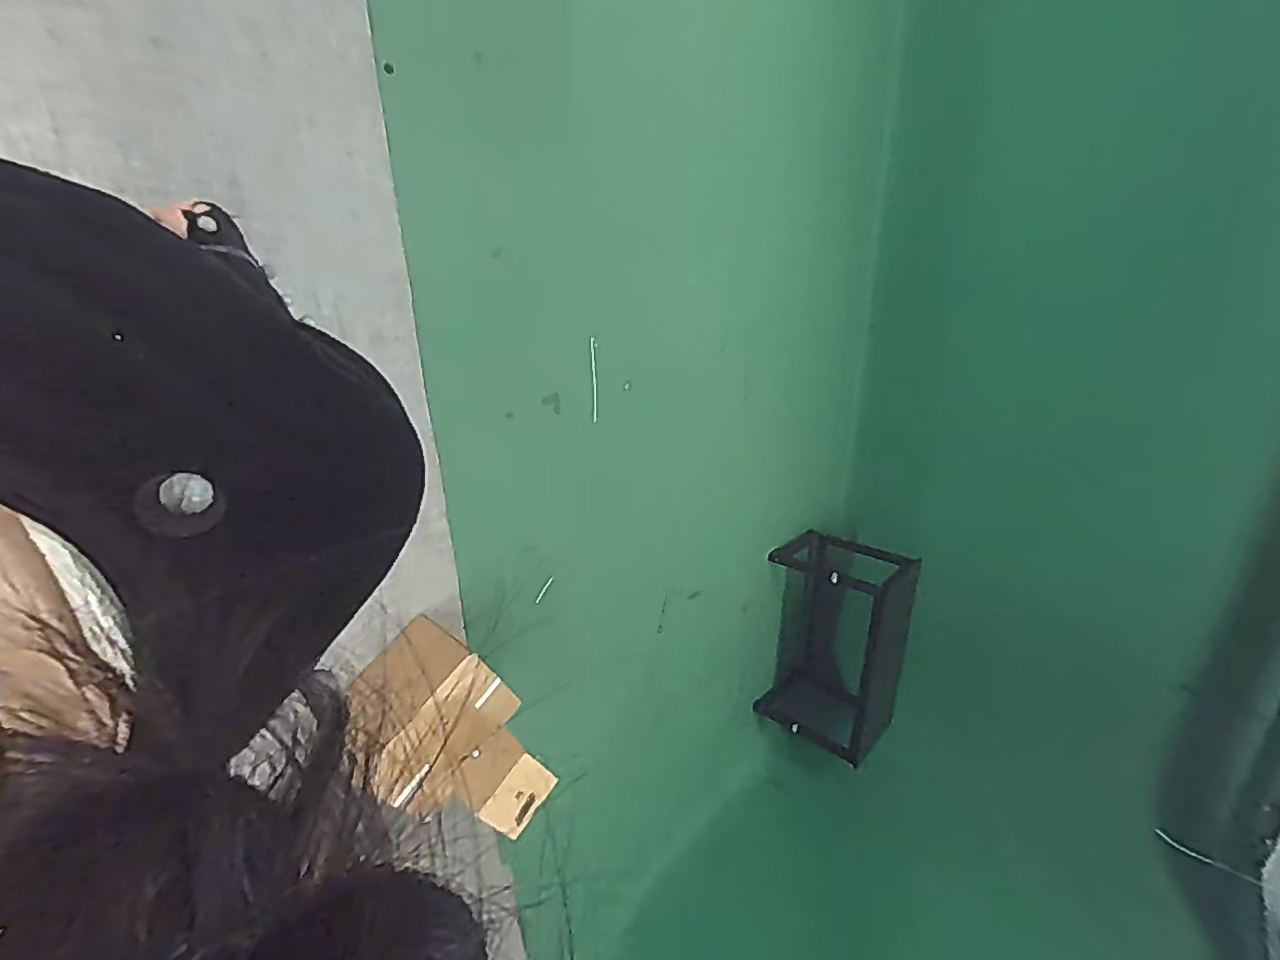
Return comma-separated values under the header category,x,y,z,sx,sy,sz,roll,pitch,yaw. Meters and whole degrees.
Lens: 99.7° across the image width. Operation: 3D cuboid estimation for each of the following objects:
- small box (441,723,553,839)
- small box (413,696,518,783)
category,x,y,z,sx,sy,sz,roll,pitch,yaw
small box,-0.358,0.747,1.358,0.168,0.176,0.179,-49,132,-27
small box,-0.474,0.722,1.472,0.168,0.176,0.179,-53,135,-24
